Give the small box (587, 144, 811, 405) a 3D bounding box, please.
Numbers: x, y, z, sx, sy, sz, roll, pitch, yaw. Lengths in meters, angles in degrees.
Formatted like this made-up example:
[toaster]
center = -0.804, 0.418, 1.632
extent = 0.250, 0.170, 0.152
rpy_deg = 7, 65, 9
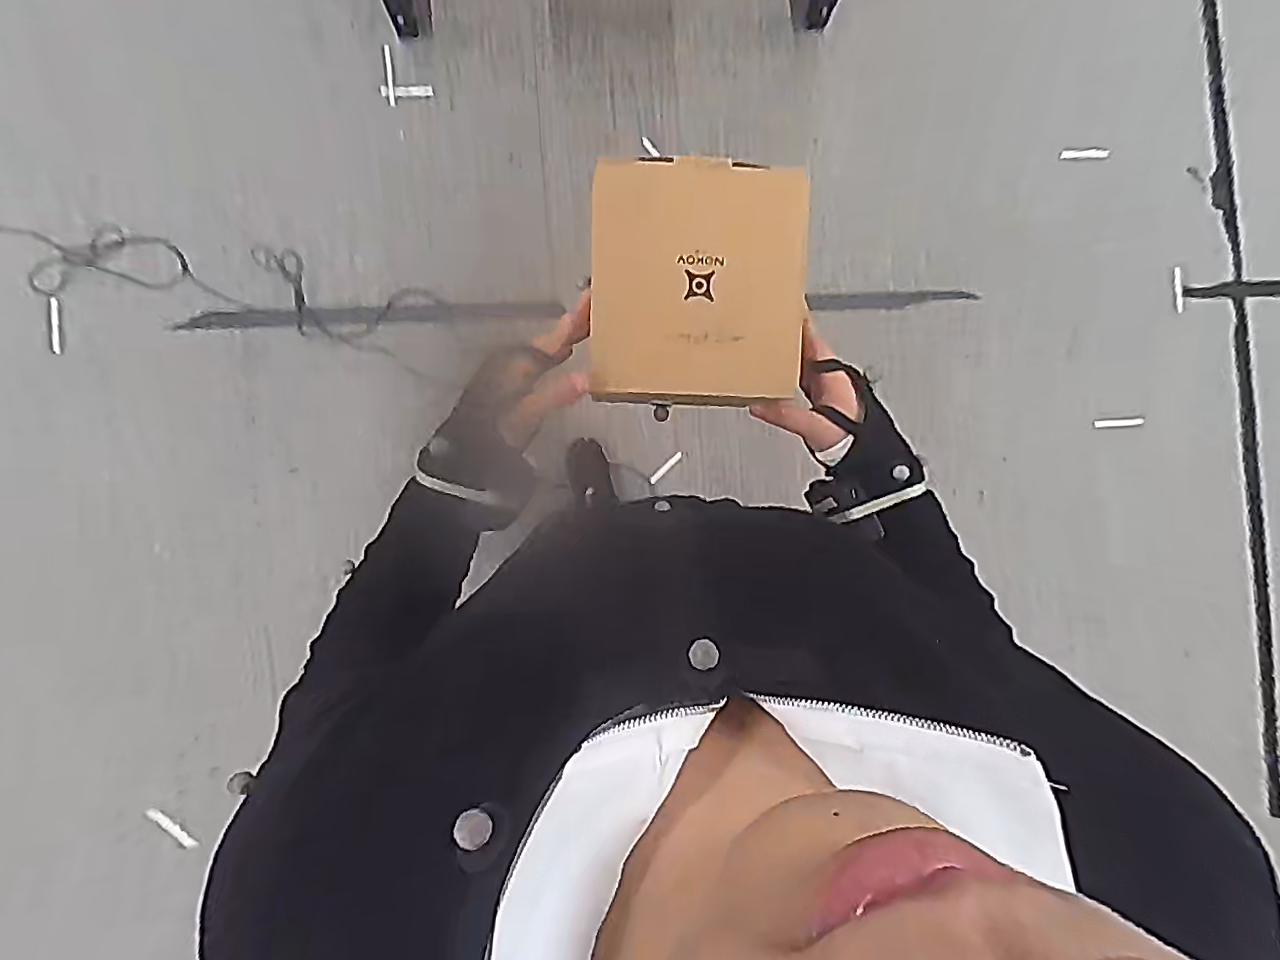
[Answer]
[small box]
center = 0.038, -0.162, 0.485
extent = 0.168, 0.176, 0.179
rpy_deg = 2, 96, -4
